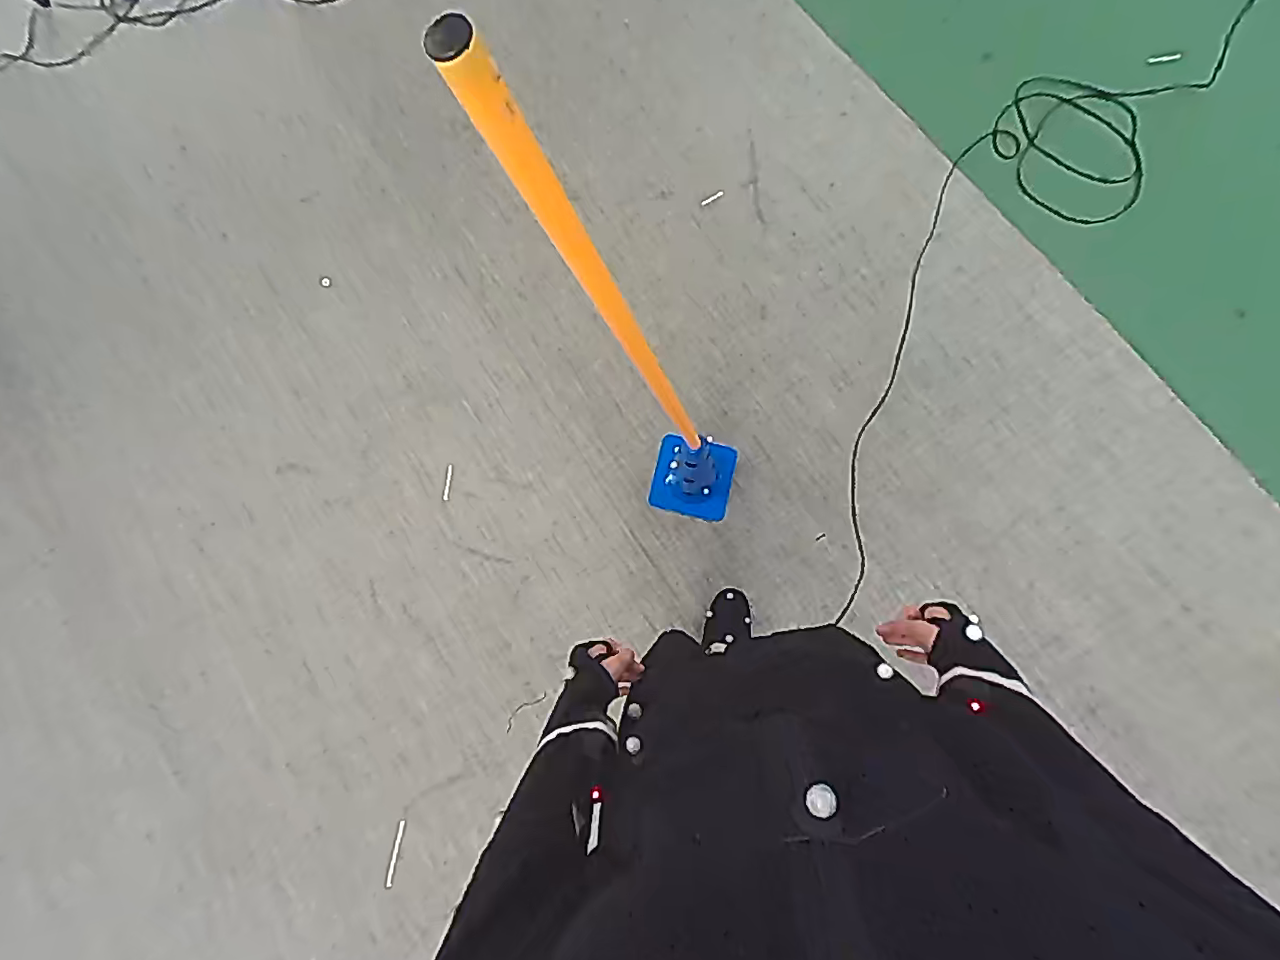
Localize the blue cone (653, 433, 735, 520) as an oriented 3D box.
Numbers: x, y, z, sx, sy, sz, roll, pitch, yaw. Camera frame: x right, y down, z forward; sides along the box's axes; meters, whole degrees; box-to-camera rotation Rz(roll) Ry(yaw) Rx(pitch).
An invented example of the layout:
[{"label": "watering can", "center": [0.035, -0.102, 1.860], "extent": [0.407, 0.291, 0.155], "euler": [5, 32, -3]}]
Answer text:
[{"label": "blue cone", "center": [0.118, -0.030, 1.199], "extent": [0.193, 0.380, 0.192], "euler": [11, 81, 8]}]
